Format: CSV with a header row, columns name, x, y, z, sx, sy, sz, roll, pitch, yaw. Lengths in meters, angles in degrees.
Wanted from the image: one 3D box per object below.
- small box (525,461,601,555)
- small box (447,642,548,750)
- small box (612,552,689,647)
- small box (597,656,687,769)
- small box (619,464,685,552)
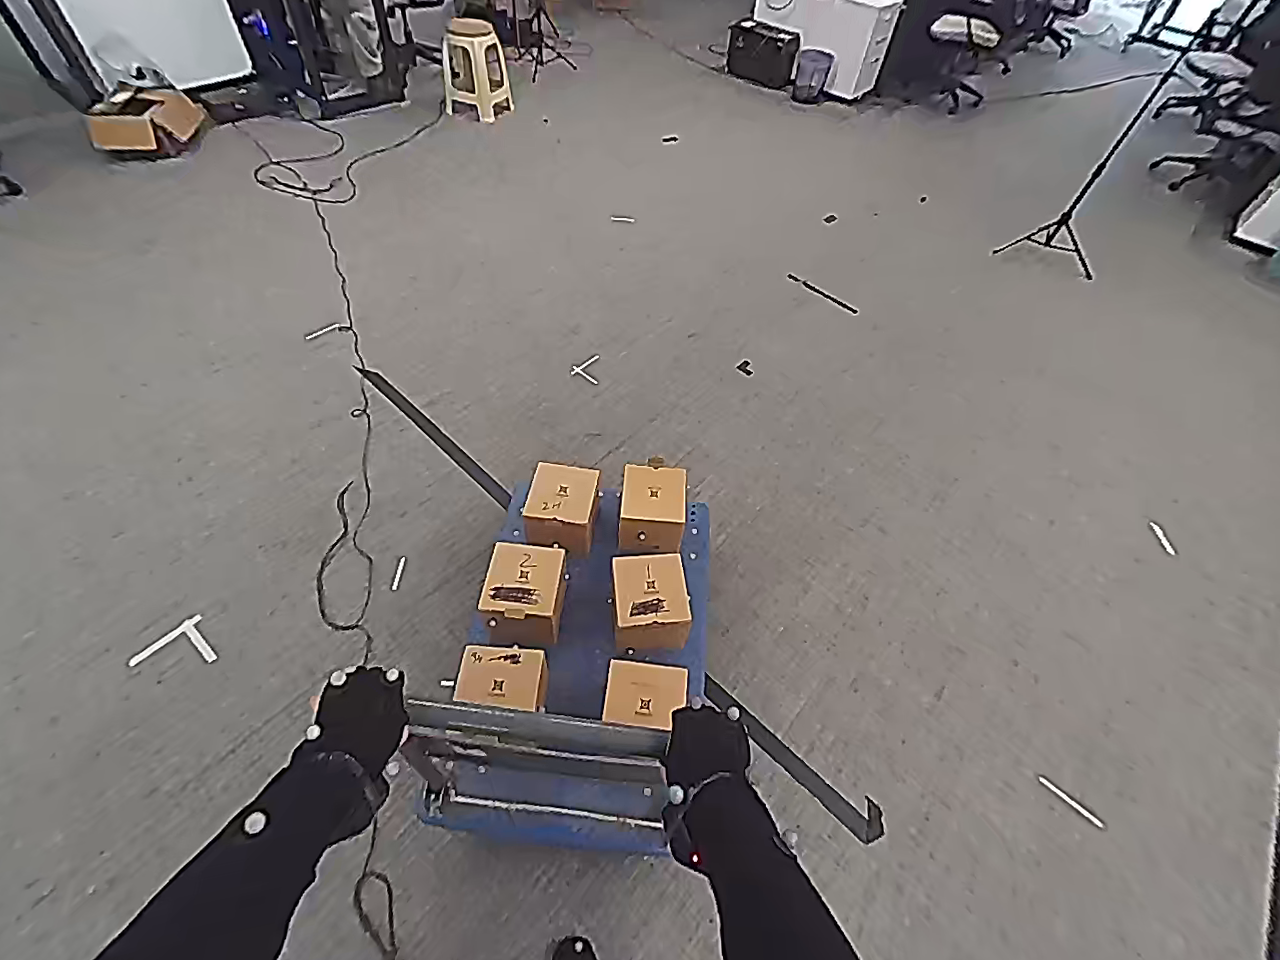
name,x,y,z,sx,sy,sz,roll,pitch,yaw
small box,-0.202,0.077,1.452,0.168,0.176,0.179,9,53,2
small box,-0.291,0.463,1.149,0.168,0.176,0.179,5,53,-2
small box,0.019,0.294,1.307,0.168,0.176,0.179,-2,52,-7
small box,0.004,0.499,1.150,0.168,0.176,0.179,8,52,1
small box,0.032,0.079,1.474,0.168,0.176,0.179,5,52,-1
